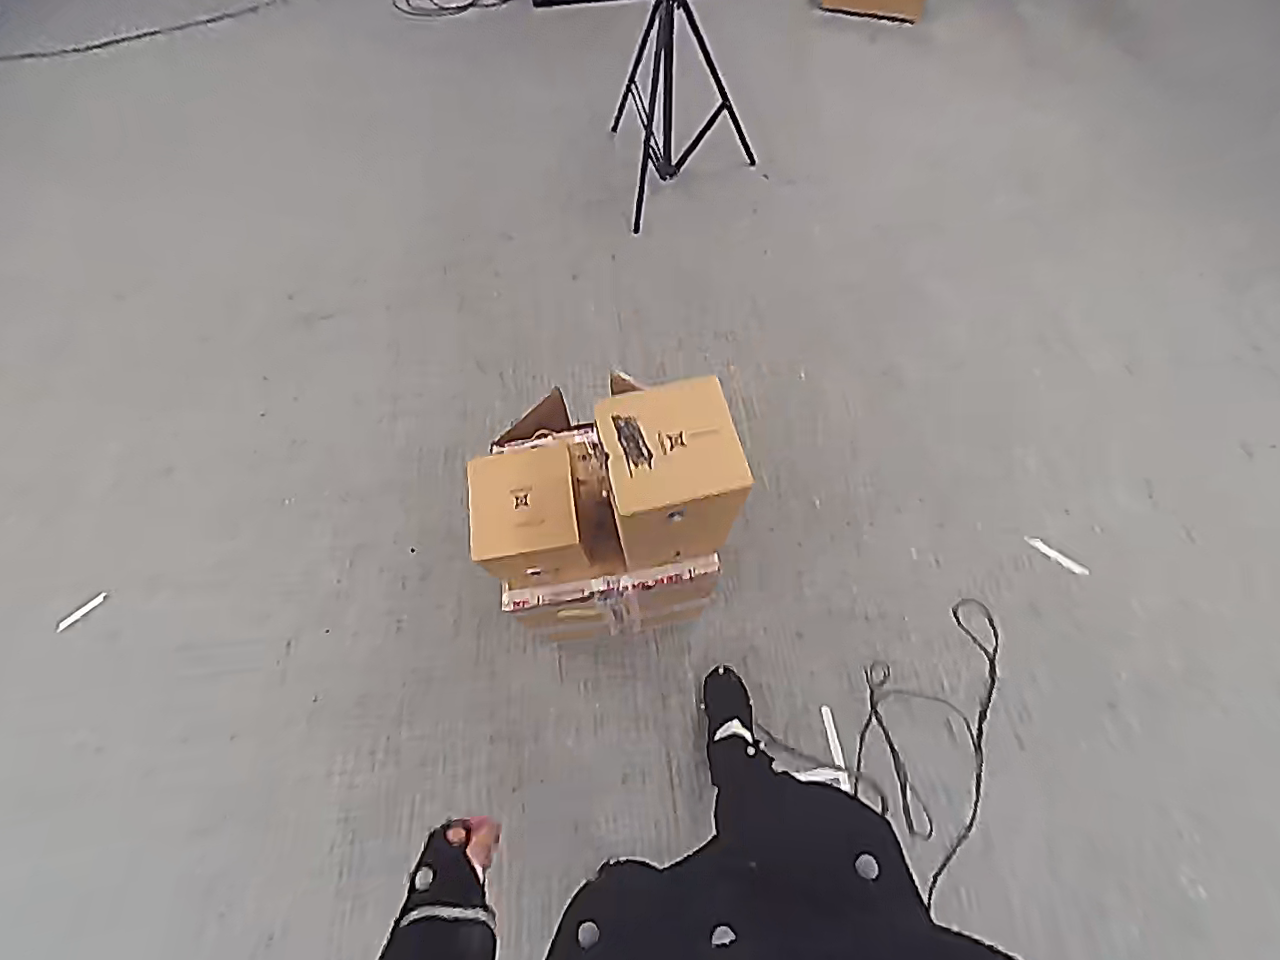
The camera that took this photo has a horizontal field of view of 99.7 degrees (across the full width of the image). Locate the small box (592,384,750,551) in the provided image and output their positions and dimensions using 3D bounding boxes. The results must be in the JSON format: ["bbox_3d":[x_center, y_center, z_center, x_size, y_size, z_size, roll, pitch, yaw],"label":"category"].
[{"bbox_3d":[0.039,-0.009,0.771,0.179,0.176,0.168,-13,69,-4],"label":"small box"}]

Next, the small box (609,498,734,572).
[{"bbox_3d":[0.043,0.047,0.926,0.179,0.176,0.168,-13,68,-5],"label":"small box"}]

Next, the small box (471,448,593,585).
[{"bbox_3d":[-0.179,0.067,0.924,0.168,0.176,0.179,-10,69,0],"label":"small box"}]
